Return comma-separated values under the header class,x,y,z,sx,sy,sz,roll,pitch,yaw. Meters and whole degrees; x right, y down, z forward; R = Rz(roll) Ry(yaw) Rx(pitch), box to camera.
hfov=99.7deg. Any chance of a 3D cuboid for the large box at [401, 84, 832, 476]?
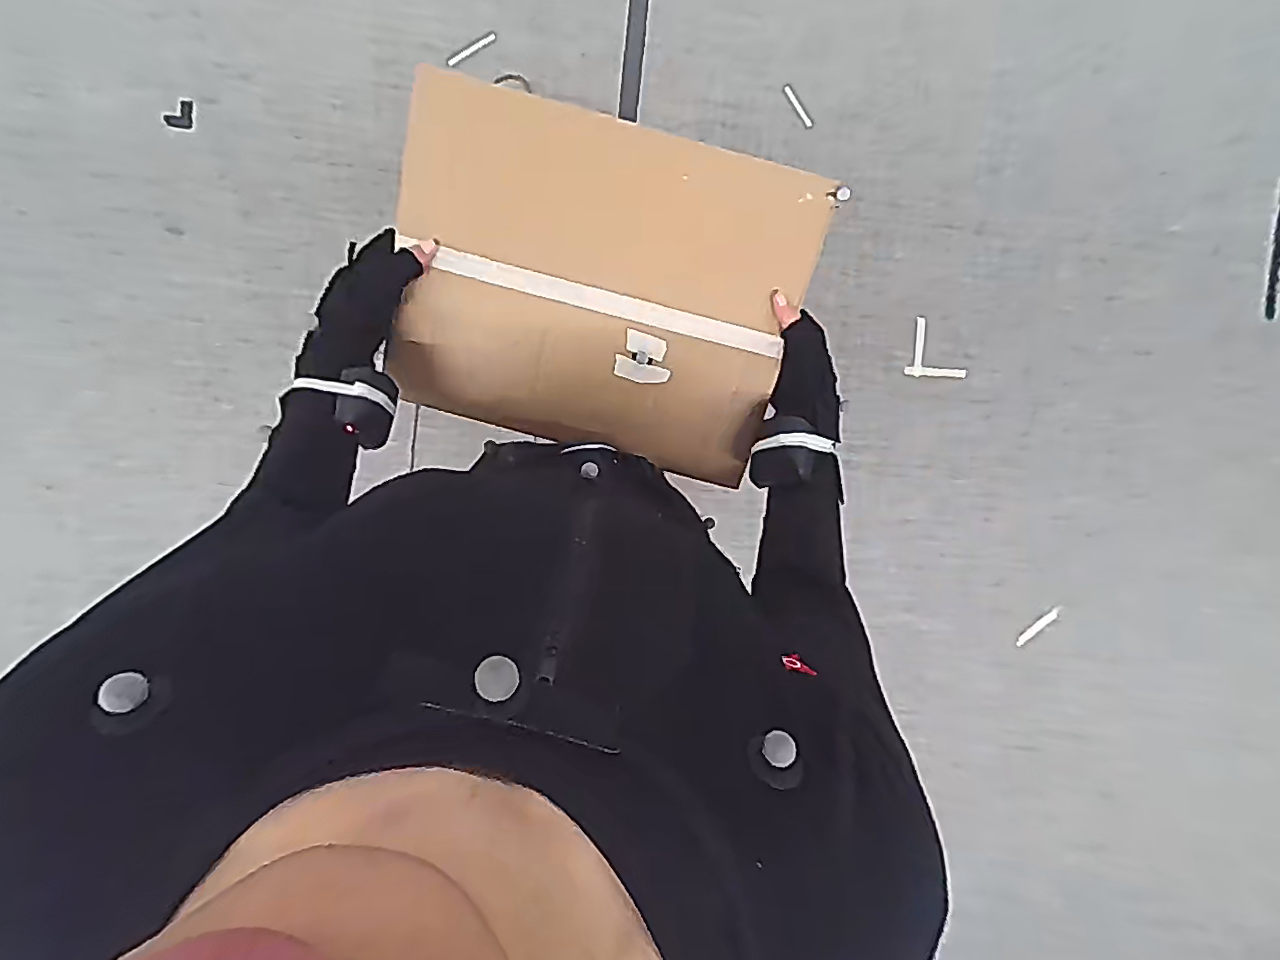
class,x,y,z,sx,sy,sz,roll,pitch,yaw
large box,-0.035,-0.236,0.701,0.408,0.320,0.320,15,110,-1
